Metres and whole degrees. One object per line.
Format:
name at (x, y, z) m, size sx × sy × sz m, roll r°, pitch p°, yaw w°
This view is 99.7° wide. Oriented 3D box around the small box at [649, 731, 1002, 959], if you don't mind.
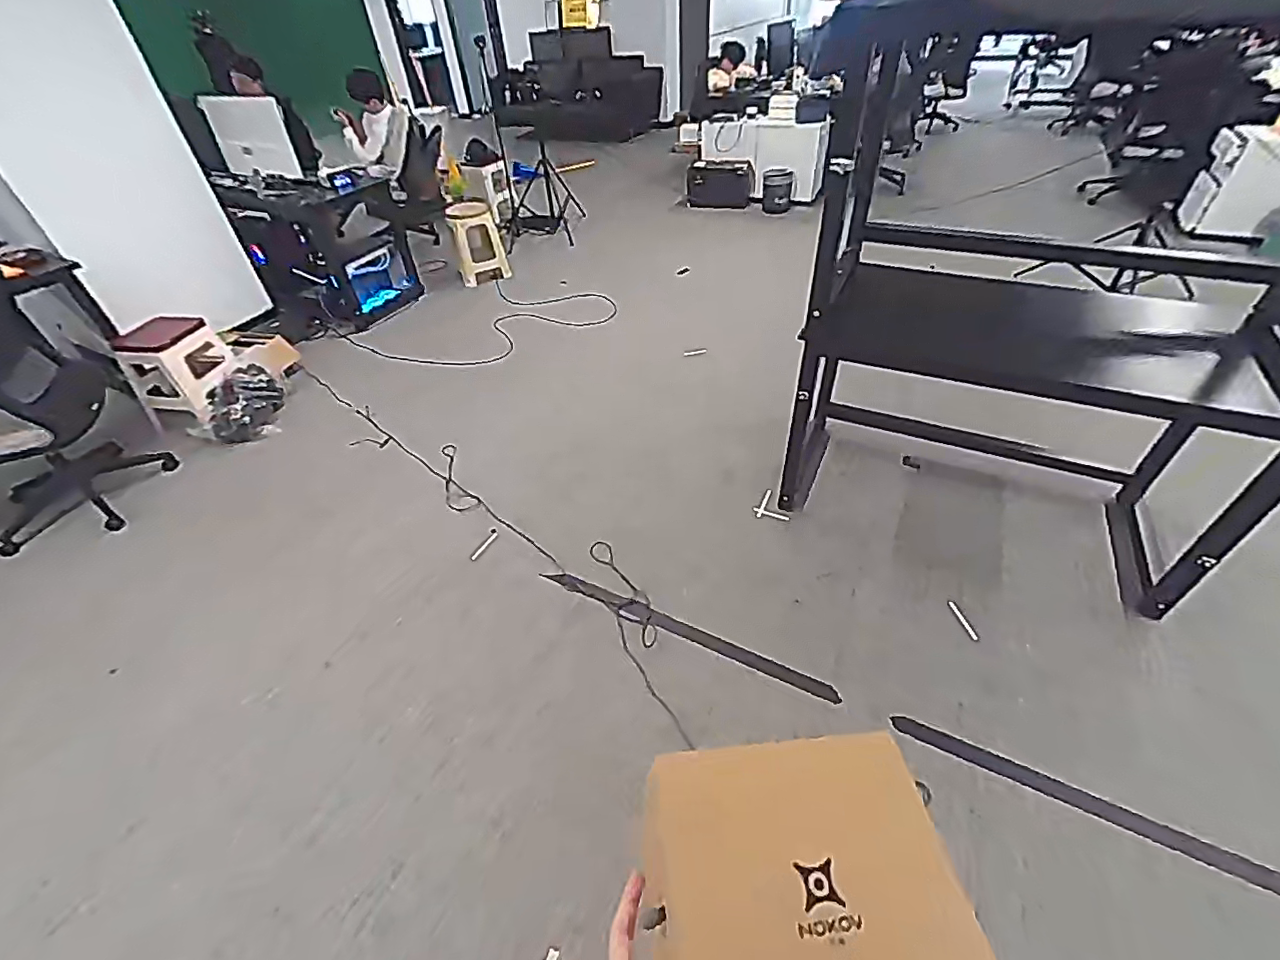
small box at (0.099, 0.290, 0.350) m, size 0.168 × 0.176 × 0.179 m, roll -2°, pitch 42°, yaw -6°
